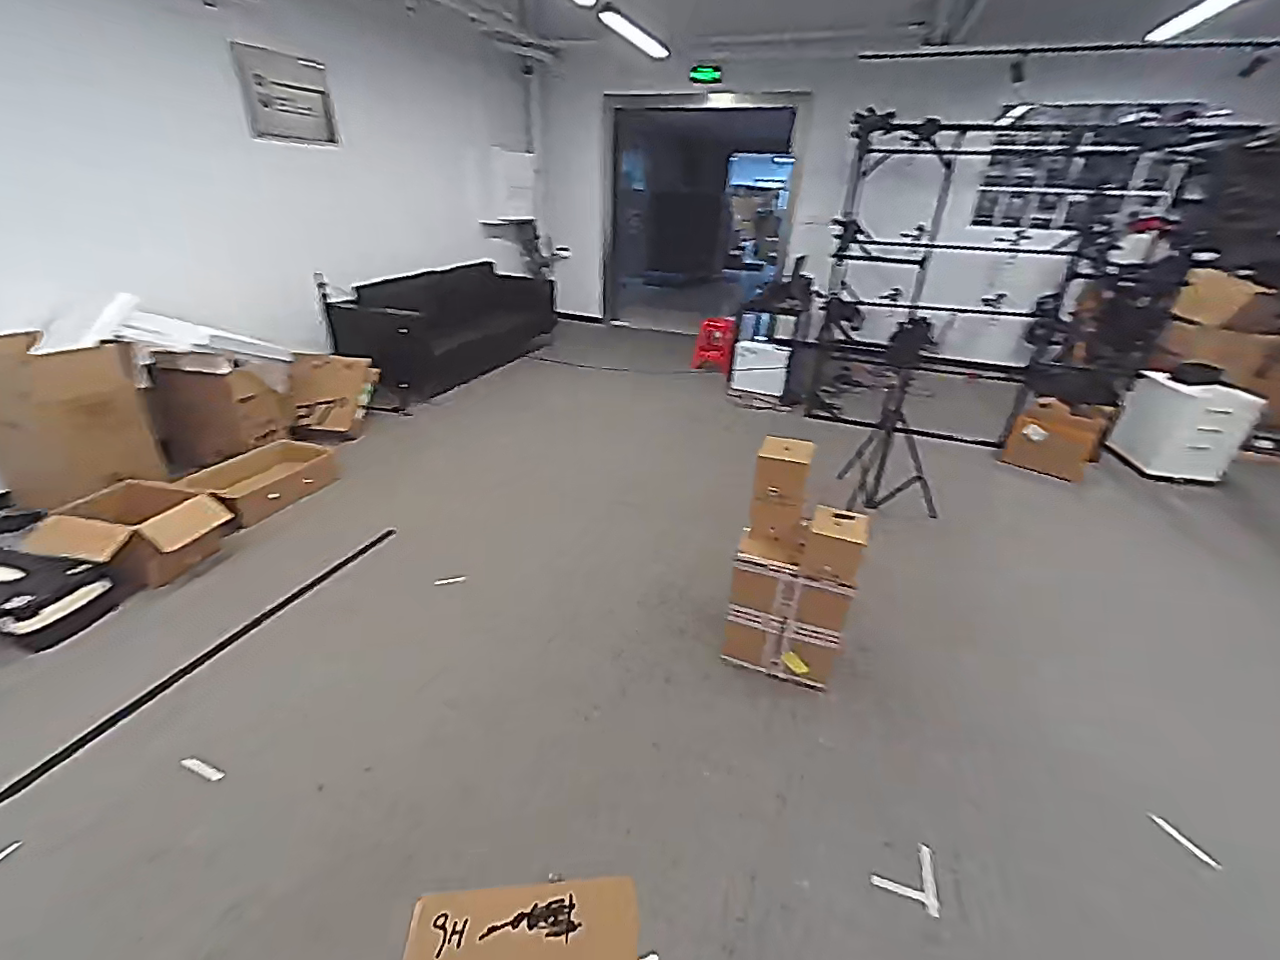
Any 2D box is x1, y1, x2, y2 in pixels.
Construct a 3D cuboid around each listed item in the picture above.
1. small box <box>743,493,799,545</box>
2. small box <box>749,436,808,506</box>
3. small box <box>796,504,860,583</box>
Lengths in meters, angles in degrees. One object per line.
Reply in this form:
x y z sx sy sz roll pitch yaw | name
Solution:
0.475 0.110 1.954 0.168 0.176 0.179 10 31 18 | small box
0.477 -0.032 1.875 0.168 0.176 0.179 10 31 19 | small box
0.619 0.208 1.785 0.168 0.176 0.179 12 32 17 | small box
